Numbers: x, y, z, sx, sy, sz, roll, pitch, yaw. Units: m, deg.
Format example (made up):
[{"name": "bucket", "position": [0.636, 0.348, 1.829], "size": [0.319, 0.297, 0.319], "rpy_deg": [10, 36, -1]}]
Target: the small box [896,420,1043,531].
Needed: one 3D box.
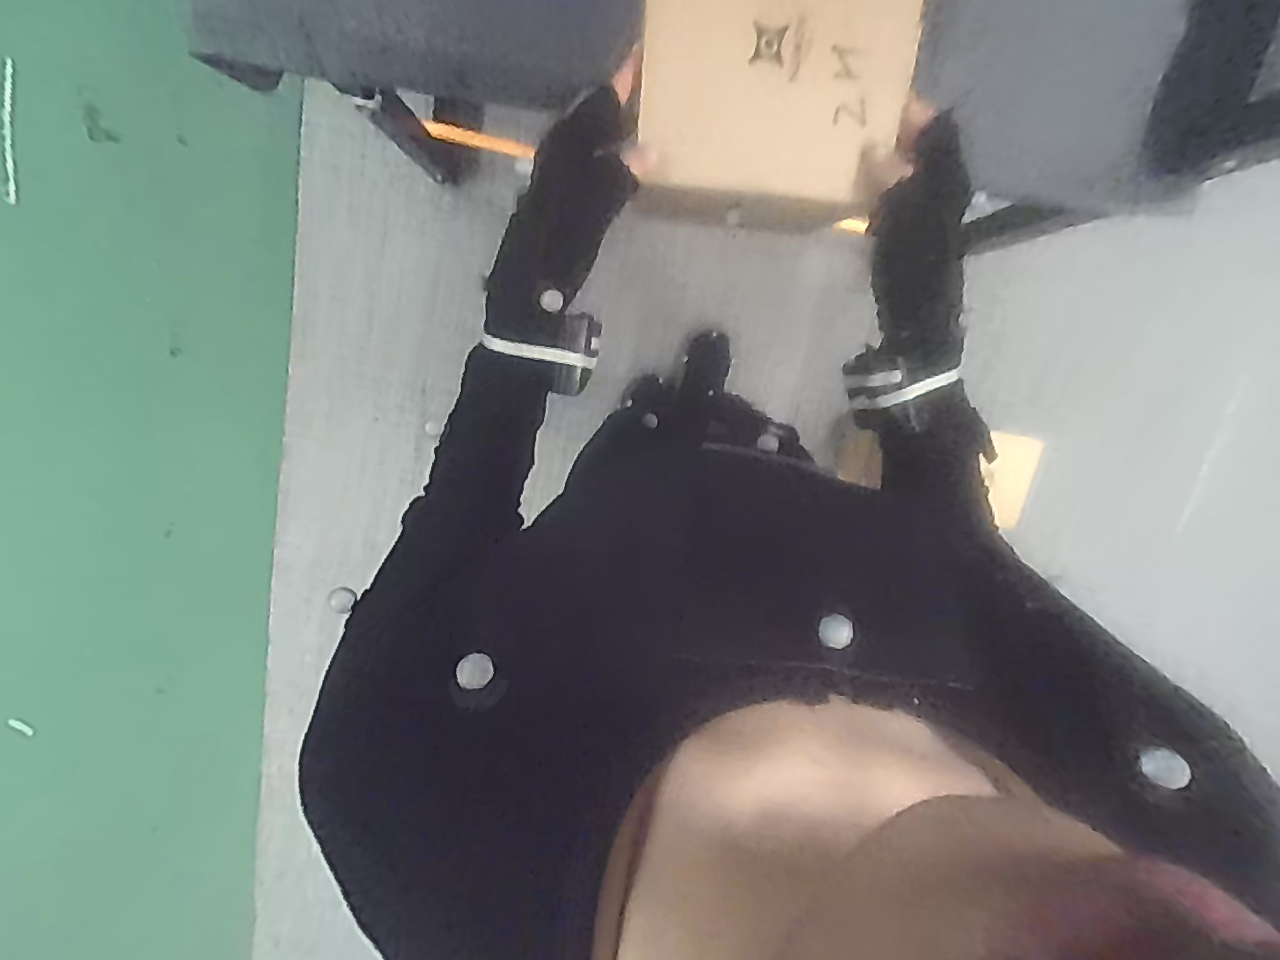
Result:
[{"name": "small box", "position": [0.642, -0.017, 1.079], "size": [0.168, 0.176, 0.179], "rpy_deg": [10, 102, -3]}]

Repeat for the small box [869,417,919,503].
[{"name": "small box", "position": [0.650, -0.043, 1.240], "size": [0.168, 0.176, 0.179], "rpy_deg": [8, 101, -3]}]
